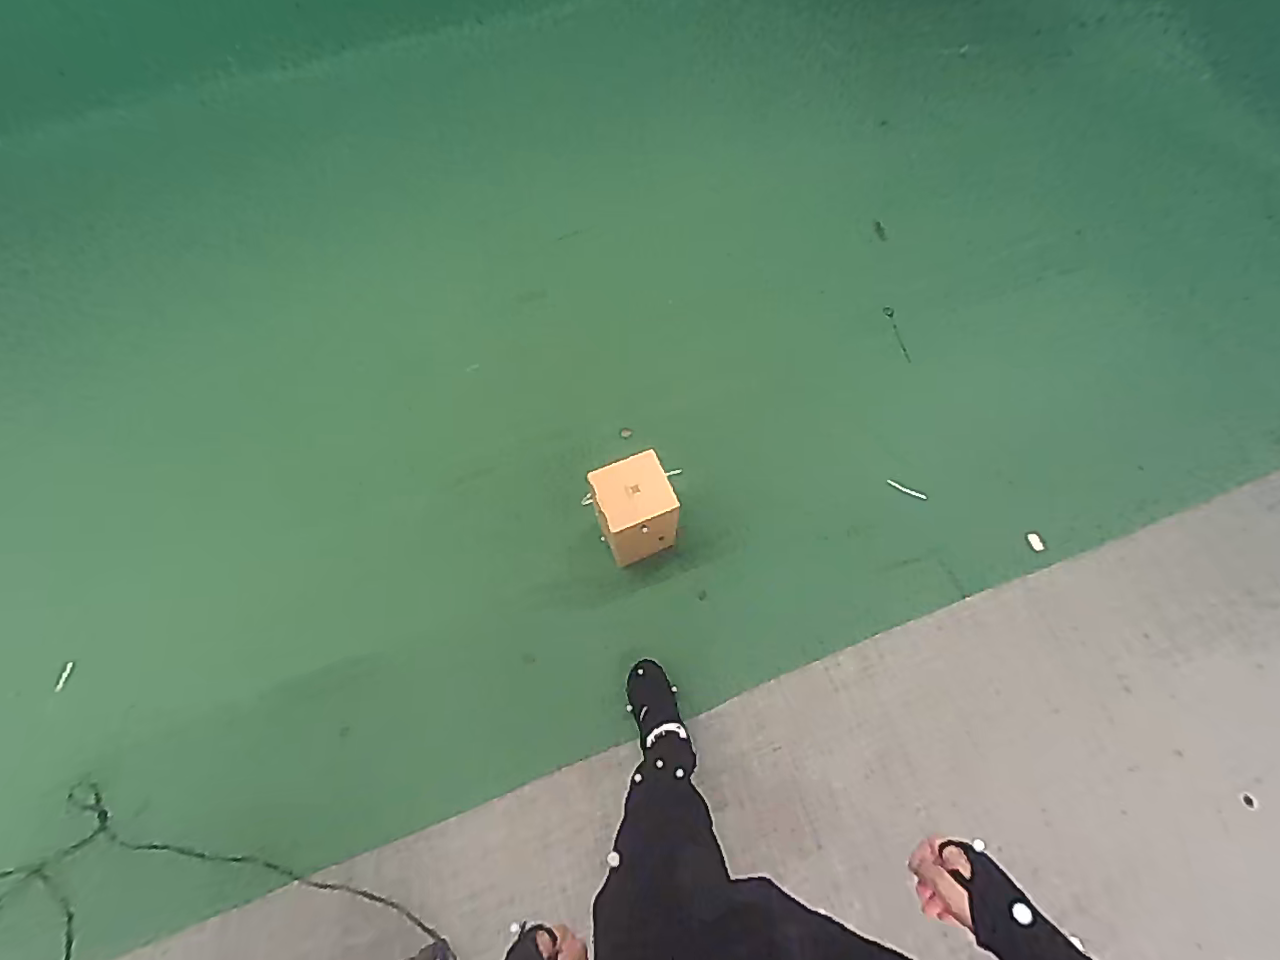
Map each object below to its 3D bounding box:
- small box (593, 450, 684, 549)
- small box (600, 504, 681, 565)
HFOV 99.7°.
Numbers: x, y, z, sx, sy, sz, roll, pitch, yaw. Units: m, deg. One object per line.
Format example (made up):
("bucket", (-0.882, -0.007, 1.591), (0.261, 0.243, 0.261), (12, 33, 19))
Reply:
("small box", (-0.004, 0.053, 1.357), (0.179, 0.176, 0.168), (-22, 69, -7))
("small box", (-0.001, 0.116, 1.506), (0.179, 0.176, 0.168), (-23, 68, -8))
